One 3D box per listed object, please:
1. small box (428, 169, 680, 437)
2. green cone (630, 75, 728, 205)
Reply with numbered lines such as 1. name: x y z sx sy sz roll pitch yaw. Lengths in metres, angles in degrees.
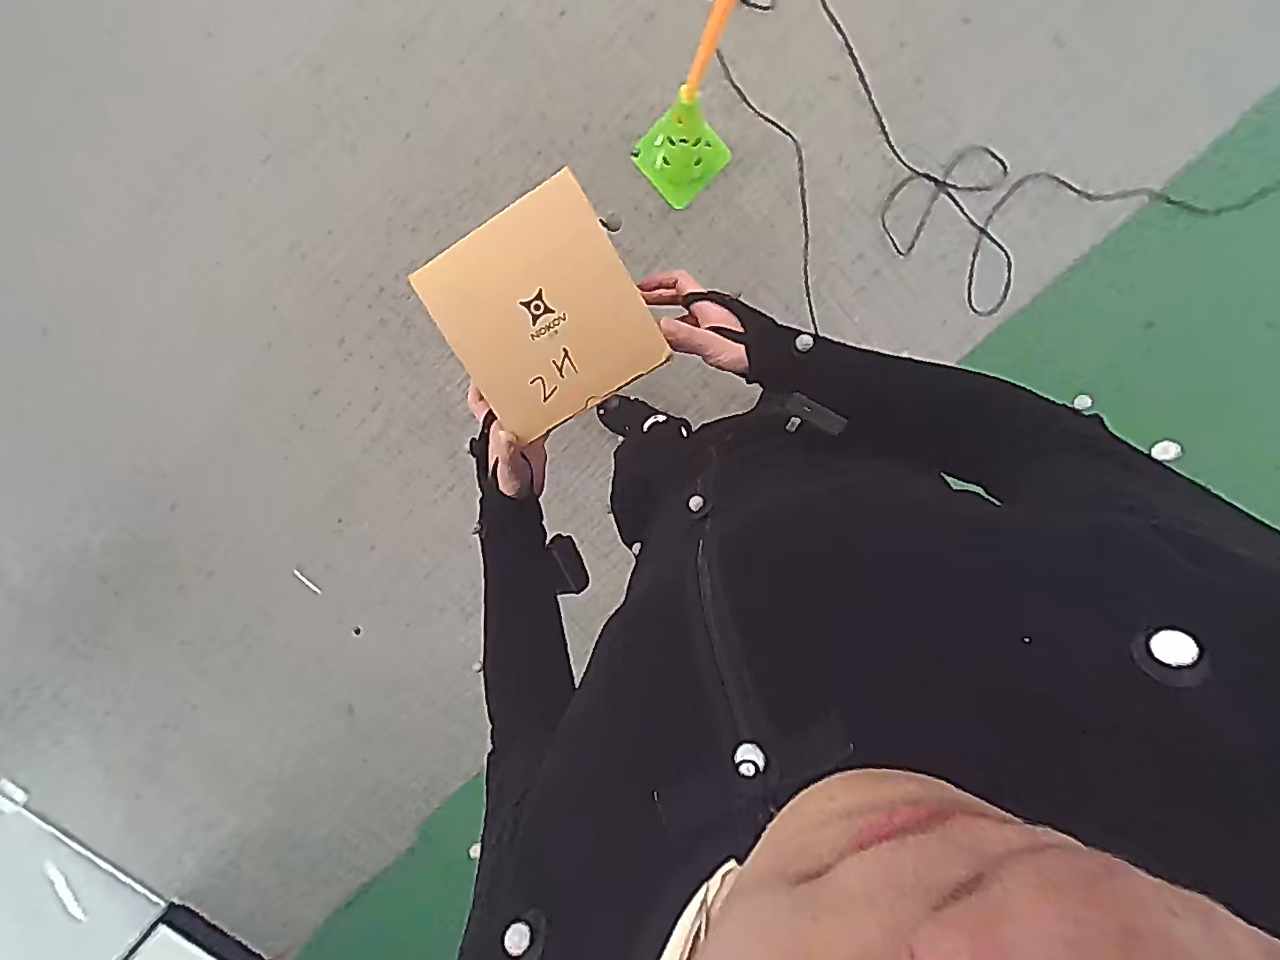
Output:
1. small box: -0.072 -0.166 0.548 0.168 0.176 0.179 -27 102 9
2. green cone: 0.104 -0.826 1.258 0.202 0.368 0.200 -43 100 9
